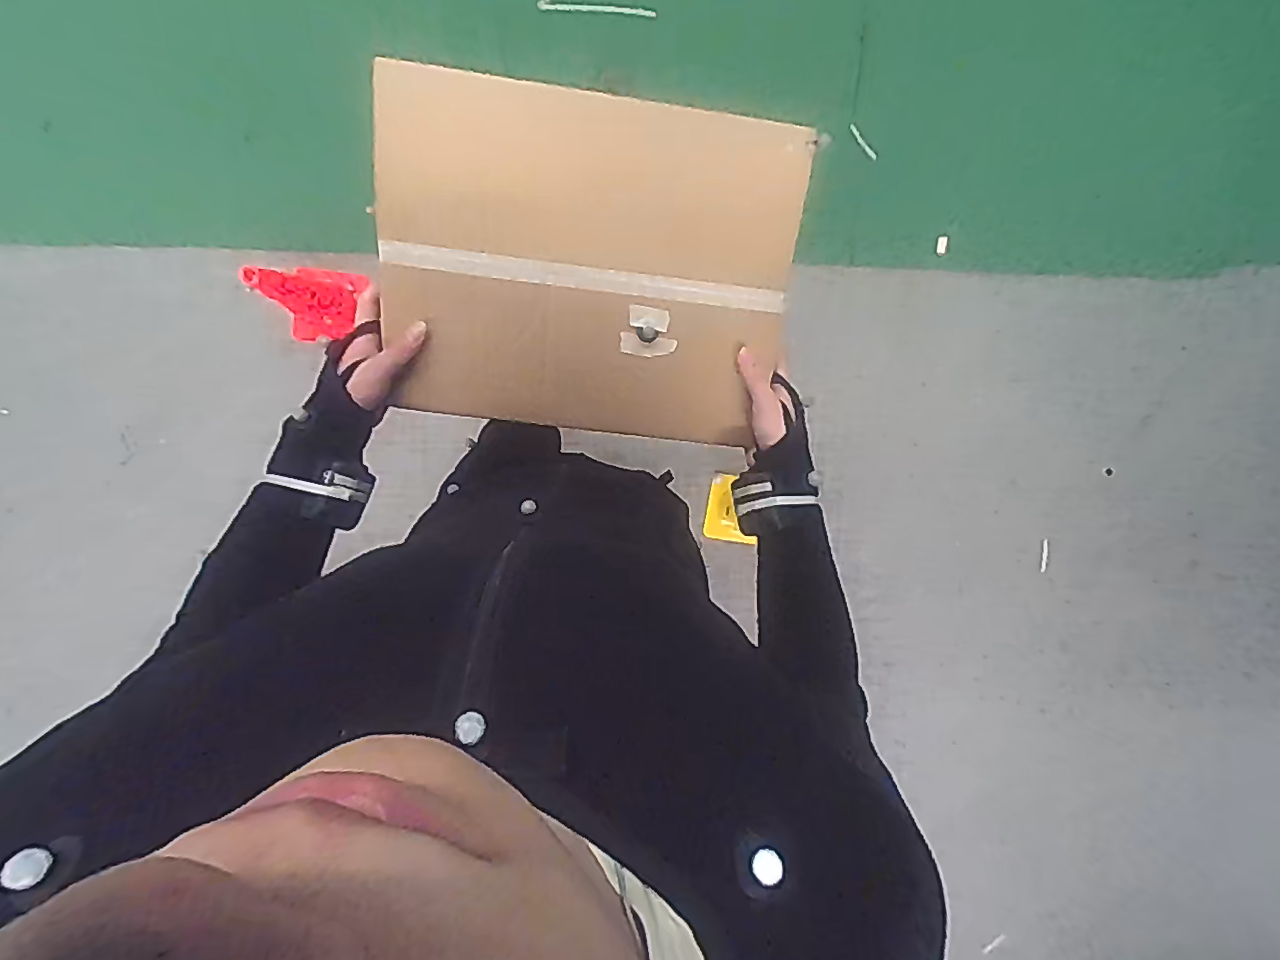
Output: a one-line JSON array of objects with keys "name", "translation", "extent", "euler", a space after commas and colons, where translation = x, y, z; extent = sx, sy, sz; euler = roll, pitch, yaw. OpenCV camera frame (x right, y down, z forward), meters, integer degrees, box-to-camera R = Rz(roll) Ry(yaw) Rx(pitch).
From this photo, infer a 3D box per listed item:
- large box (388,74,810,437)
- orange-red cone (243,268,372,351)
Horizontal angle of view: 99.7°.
[{"name": "large box", "translation": [-0.056, -0.255, 0.691], "extent": [0.408, 0.320, 0.320], "euler": [5, 109, -5]}, {"name": "orange-red cone", "translation": [-0.839, -0.448, 1.322], "extent": [0.199, 0.360, 0.198], "euler": [7, 95, -4]}]
